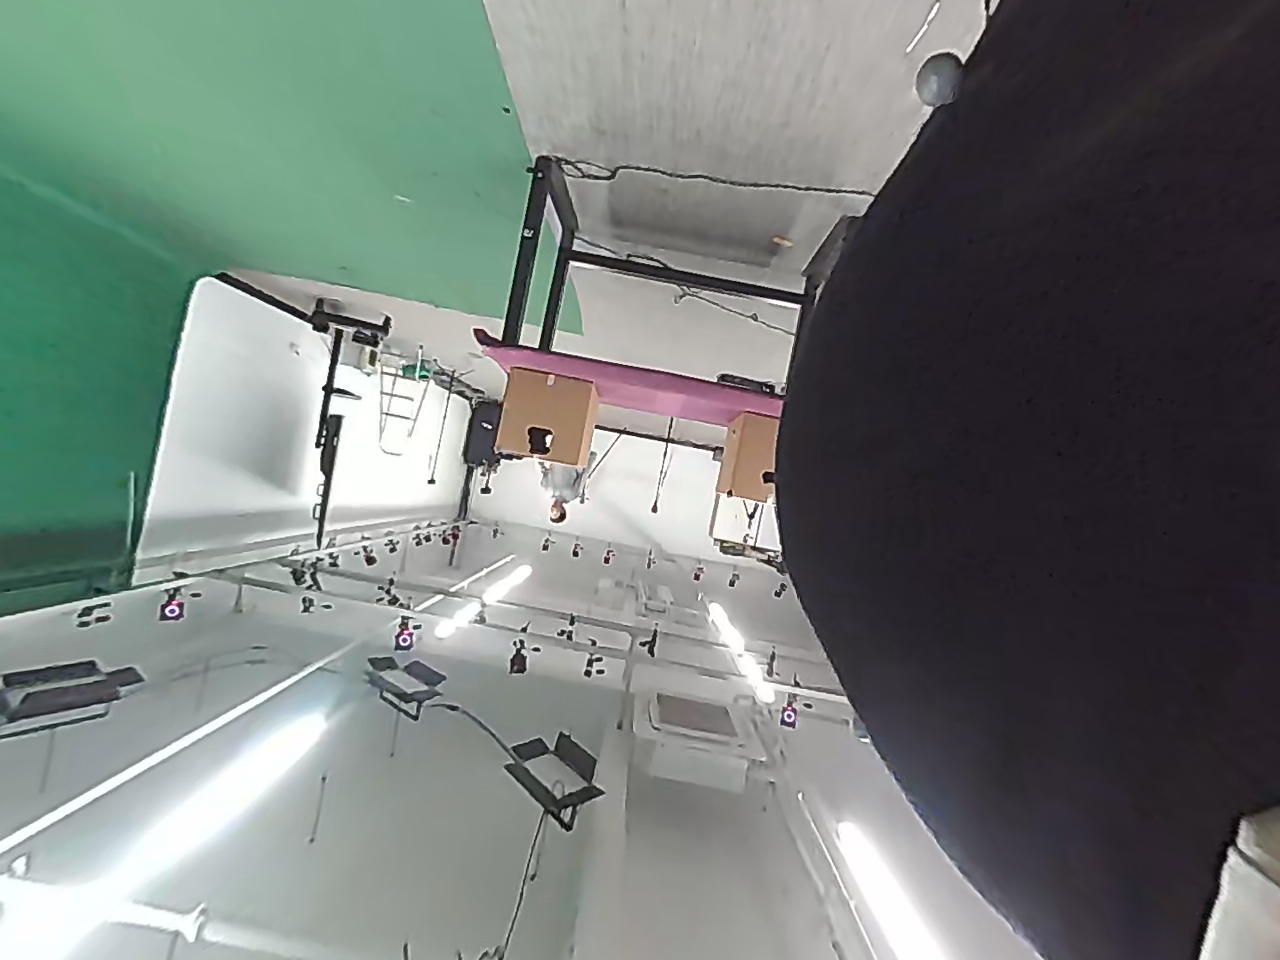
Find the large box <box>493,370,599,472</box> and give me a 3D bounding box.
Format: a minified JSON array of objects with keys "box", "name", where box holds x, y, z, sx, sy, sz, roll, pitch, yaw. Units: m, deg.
[{"box":[-0.349,-0.216,2.127,0.320,0.320,0.408,10,179,-1],"name":"large box"}]
